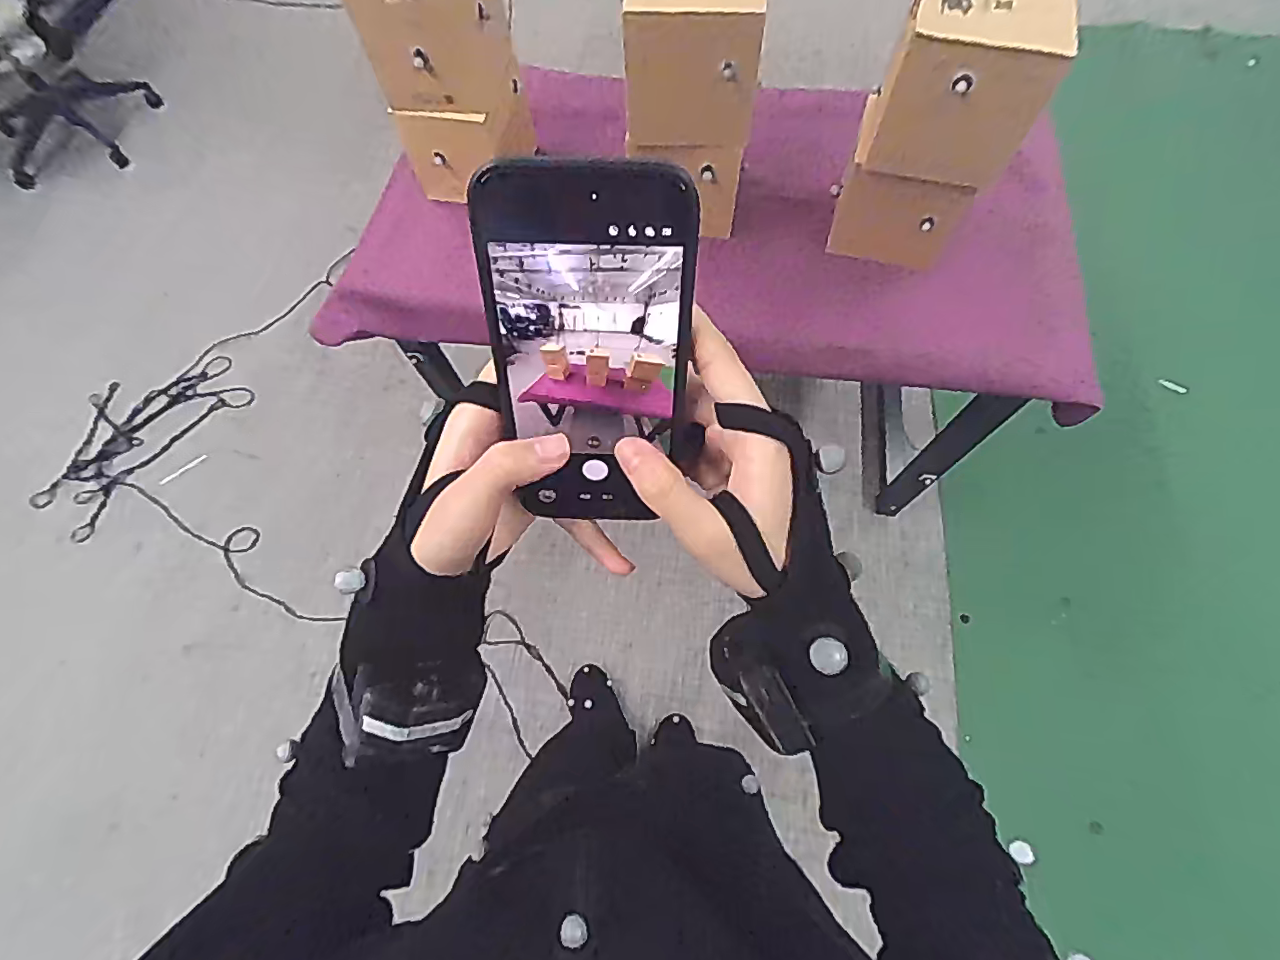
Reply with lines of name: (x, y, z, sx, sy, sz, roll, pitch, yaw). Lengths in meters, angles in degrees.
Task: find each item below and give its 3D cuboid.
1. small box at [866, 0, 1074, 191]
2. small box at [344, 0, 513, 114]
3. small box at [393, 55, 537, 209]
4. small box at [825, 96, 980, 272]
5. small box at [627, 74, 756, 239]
small box: (0.412, -0.508, 0.699, 0.179, 0.176, 0.168, 15, 69, 8)
small box: (-0.300, -0.684, 0.807, 0.168, 0.176, 0.179, 6, 68, 4)
small box: (-0.294, -0.613, 0.956, 0.168, 0.176, 0.179, 10, 68, 7)
small box: (0.415, -0.460, 0.856, 0.179, 0.176, 0.168, 15, 69, 10)
small box: (0.084, -0.529, 0.901, 0.179, 0.176, 0.168, 10, 68, 7)
